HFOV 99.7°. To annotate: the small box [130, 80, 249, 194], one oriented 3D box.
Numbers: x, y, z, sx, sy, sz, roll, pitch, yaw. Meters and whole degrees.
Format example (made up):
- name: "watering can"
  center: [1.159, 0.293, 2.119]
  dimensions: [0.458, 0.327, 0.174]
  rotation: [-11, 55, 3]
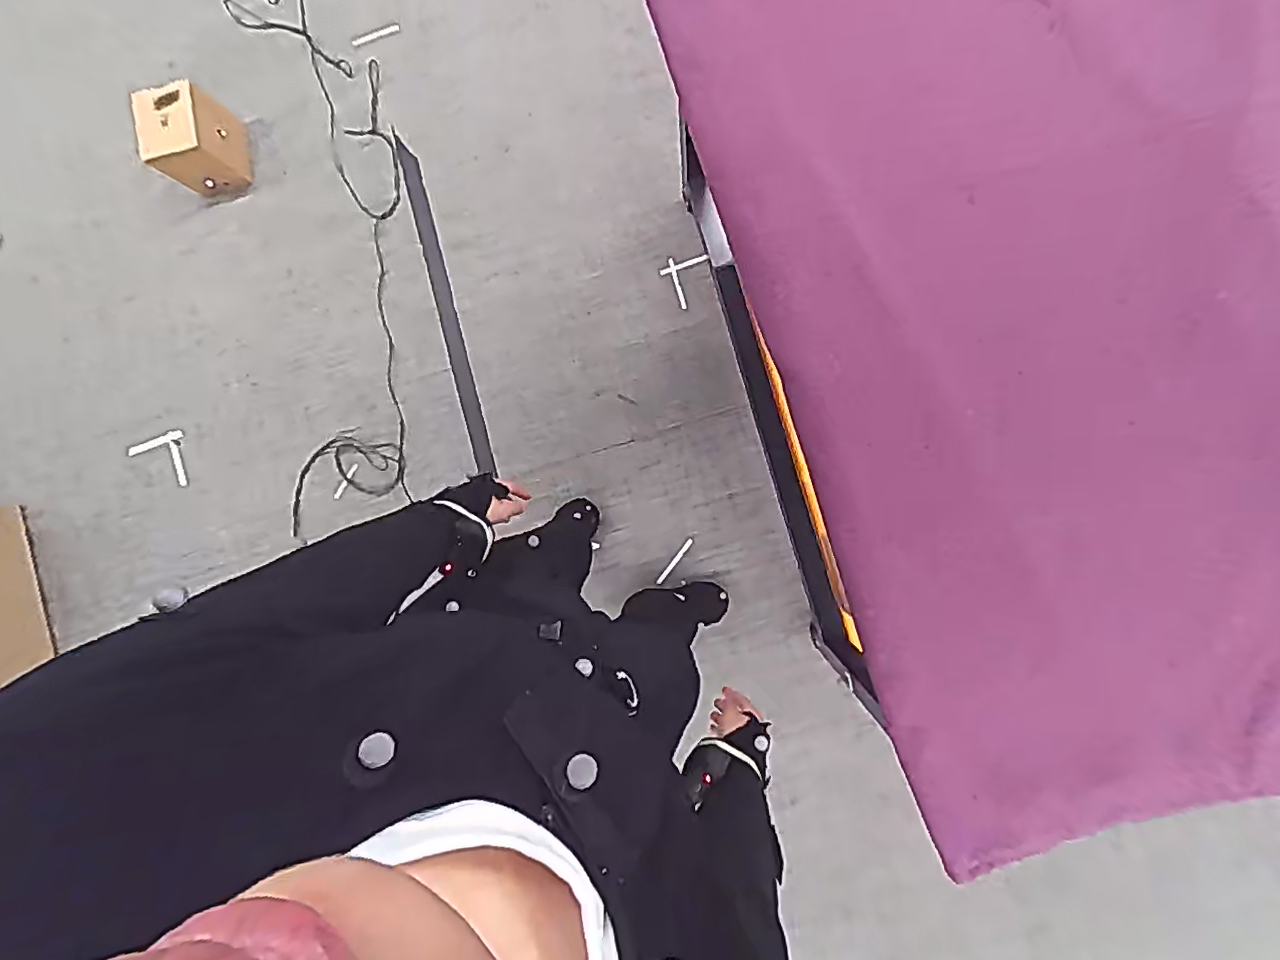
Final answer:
- name: "small box"
  center: [-1.172, -0.890, 1.417]
  dimensions: [0.168, 0.176, 0.179]
  rotation: [-9, 89, 6]
